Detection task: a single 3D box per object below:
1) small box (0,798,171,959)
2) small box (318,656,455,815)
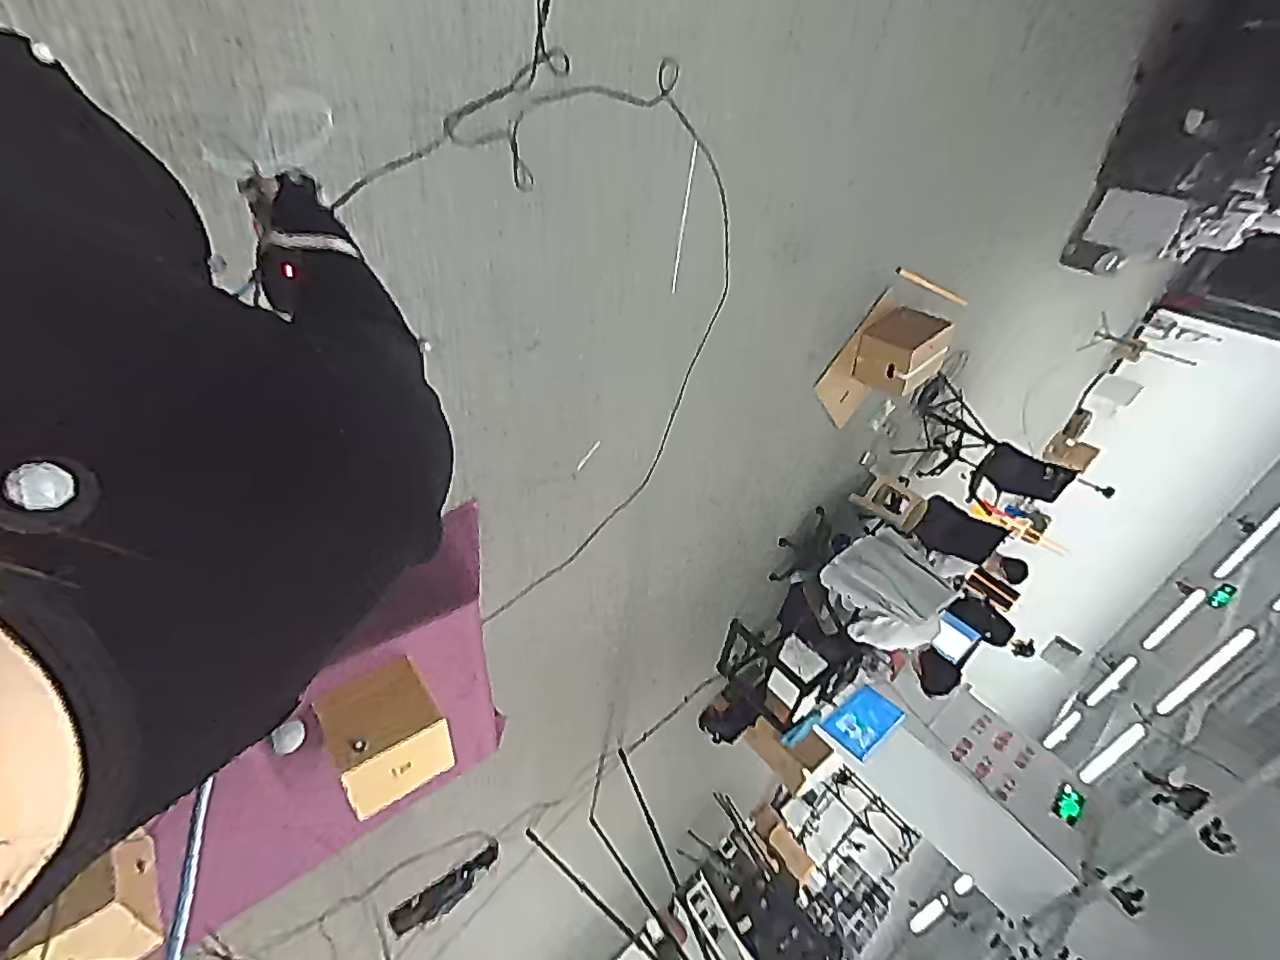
[{"bbox_3d":[-0.806,0.596,0.758,0.179,0.176,0.168,-20,134,-35],"label":"small box"},{"bbox_3d":[-0.468,0.464,1.008,0.179,0.176,0.168,-21,135,-33],"label":"small box"}]
